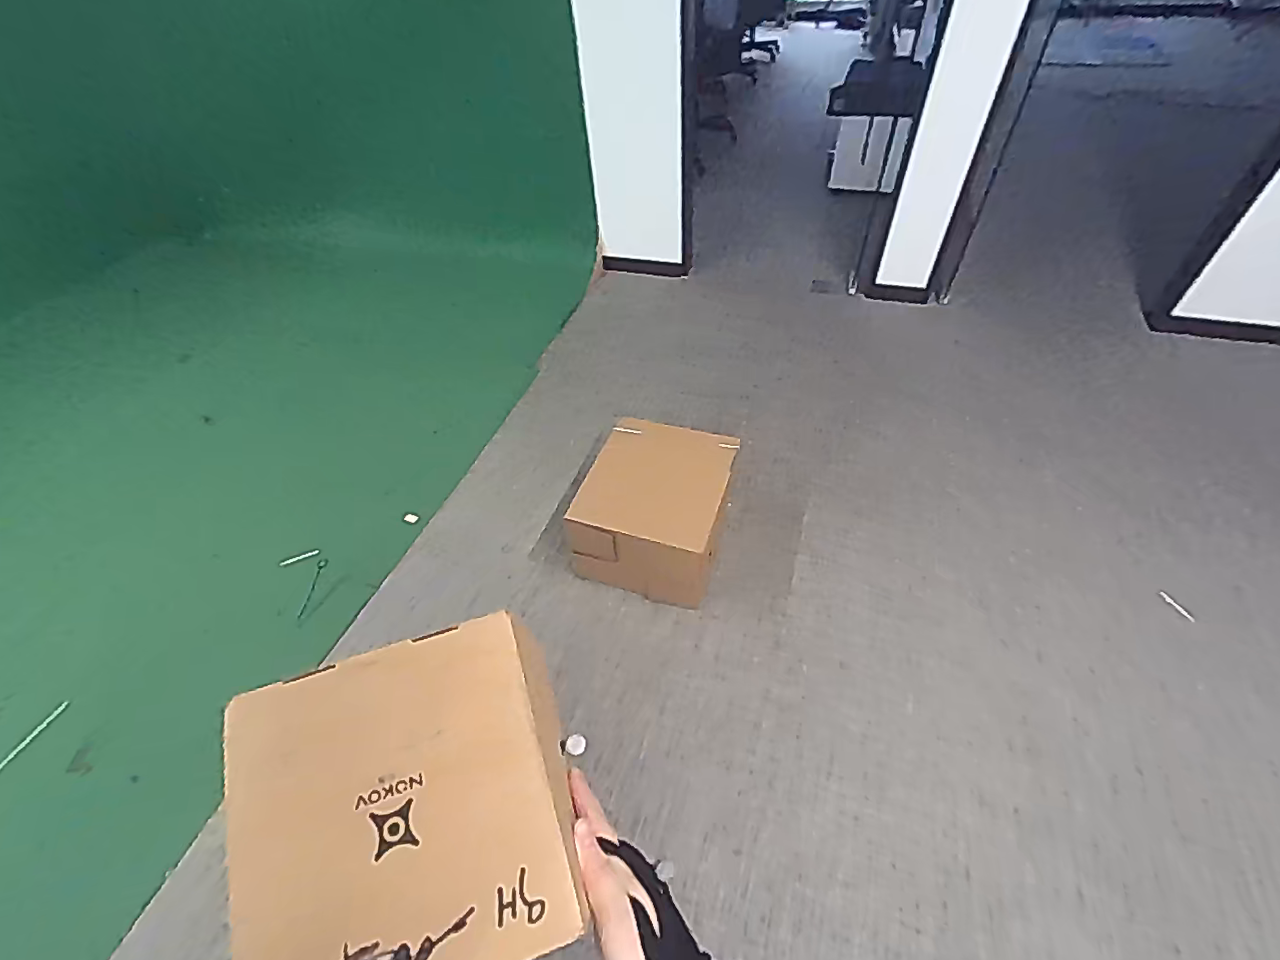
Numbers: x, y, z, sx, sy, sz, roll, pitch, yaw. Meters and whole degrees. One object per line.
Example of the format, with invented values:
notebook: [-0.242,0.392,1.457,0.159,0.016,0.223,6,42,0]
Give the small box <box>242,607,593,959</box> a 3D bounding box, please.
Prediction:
small box: [-0.134,0.211,0.372,0.168,0.176,0.179,-15,65,-9]
